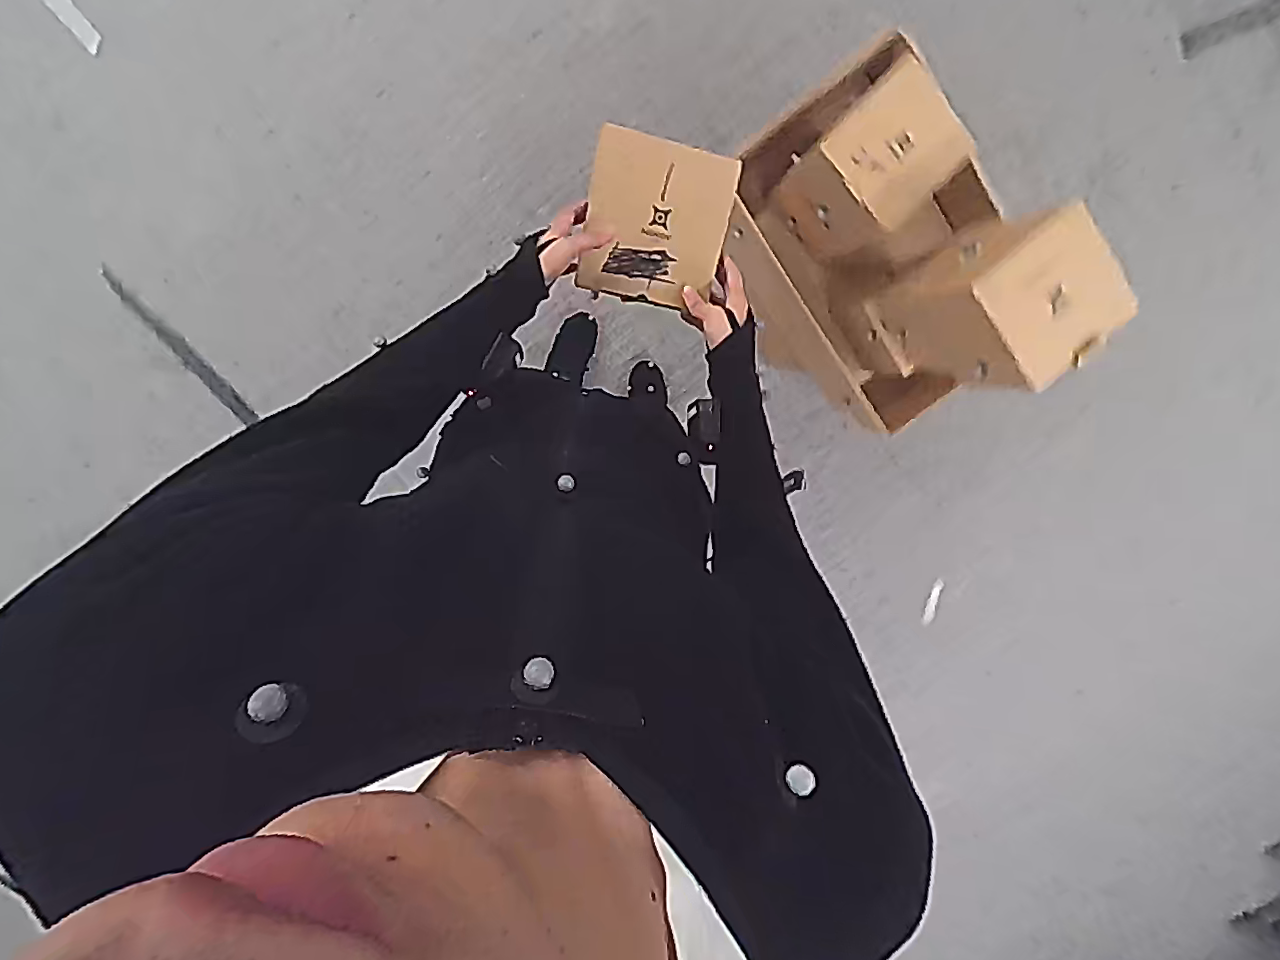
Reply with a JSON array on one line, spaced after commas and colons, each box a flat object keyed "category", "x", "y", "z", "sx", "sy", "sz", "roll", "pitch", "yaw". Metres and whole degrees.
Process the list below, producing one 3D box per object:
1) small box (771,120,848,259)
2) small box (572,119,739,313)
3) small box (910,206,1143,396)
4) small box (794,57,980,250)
[{"category": "small box", "x": 0.378, "y": -0.549, "z": 1.021, "sx": 0.179, "sy": 0.176, "sz": 0.168, "roll": -44, "pitch": 101, "yaw": 8}, {"category": "small box", "x": 0.008, "y": -0.327, "z": 0.701, "sx": 0.168, "sy": 0.176, "sz": 0.179, "roll": 9, "pitch": 108, "yaw": -11}, {"category": "small box", "x": 0.529, "y": -0.243, "z": 0.764, "sx": 0.168, "sy": 0.176, "sz": 0.179, "roll": -39, "pitch": 103, "yaw": 6}, {"category": "small box", "x": 0.379, "y": -0.502, "z": 0.863, "sx": 0.179, "sy": 0.176, "sz": 0.168, "roll": -43, "pitch": 102, "yaw": 8}]
